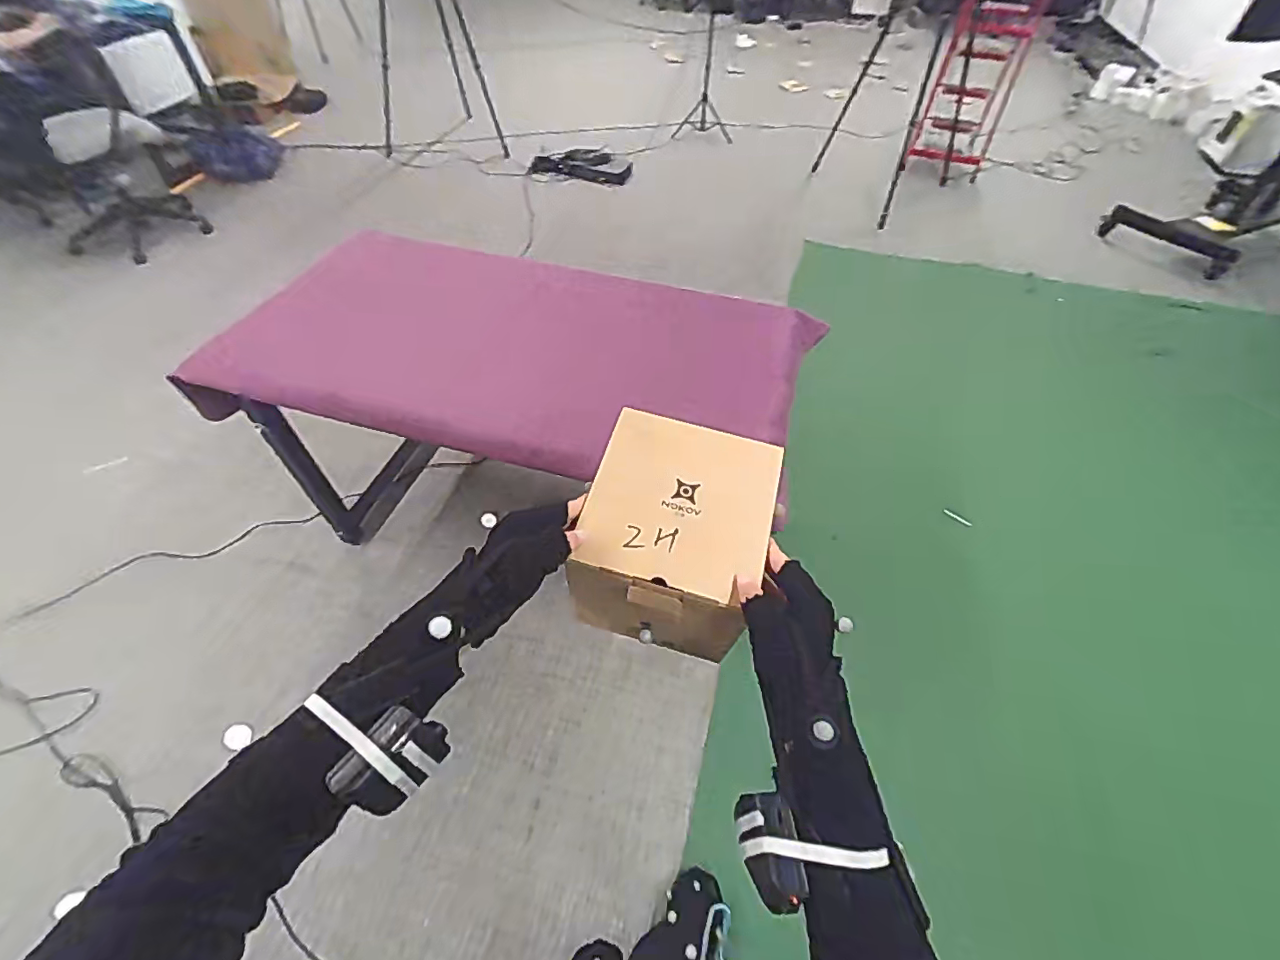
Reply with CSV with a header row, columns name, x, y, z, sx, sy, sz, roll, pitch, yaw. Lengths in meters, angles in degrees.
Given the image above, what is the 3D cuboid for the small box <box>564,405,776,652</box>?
name,x,y,z,sx,sy,sz,roll,pitch,yaw
small box,0.030,0.055,0.563,0.168,0.176,0.179,14,59,7
